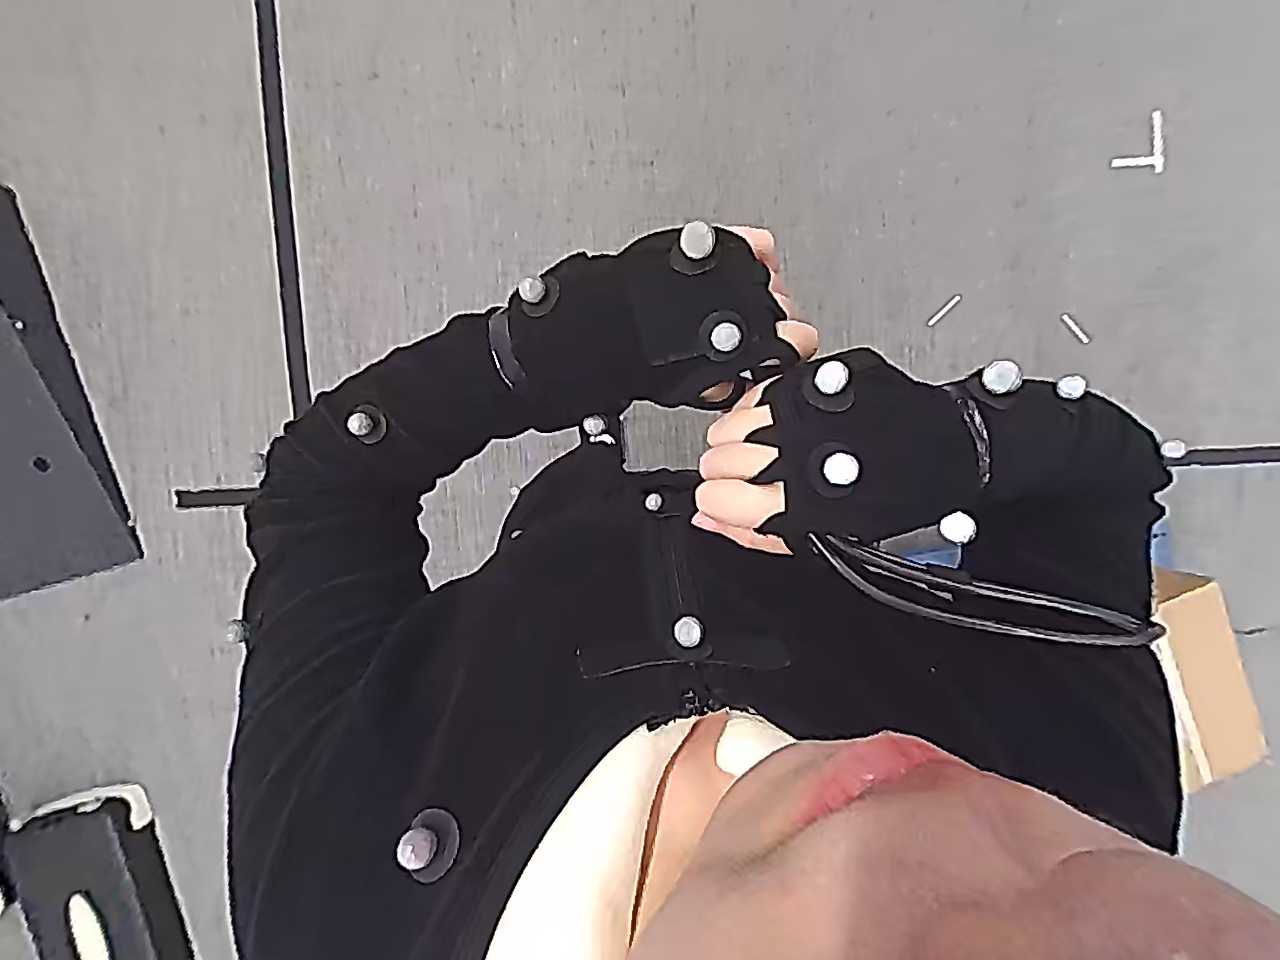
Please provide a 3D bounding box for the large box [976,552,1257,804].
[{"bbox_3d":[1.076,0.428,1.261,0.320,0.320,0.408,-20,94,-2],"label":"large box"}]
